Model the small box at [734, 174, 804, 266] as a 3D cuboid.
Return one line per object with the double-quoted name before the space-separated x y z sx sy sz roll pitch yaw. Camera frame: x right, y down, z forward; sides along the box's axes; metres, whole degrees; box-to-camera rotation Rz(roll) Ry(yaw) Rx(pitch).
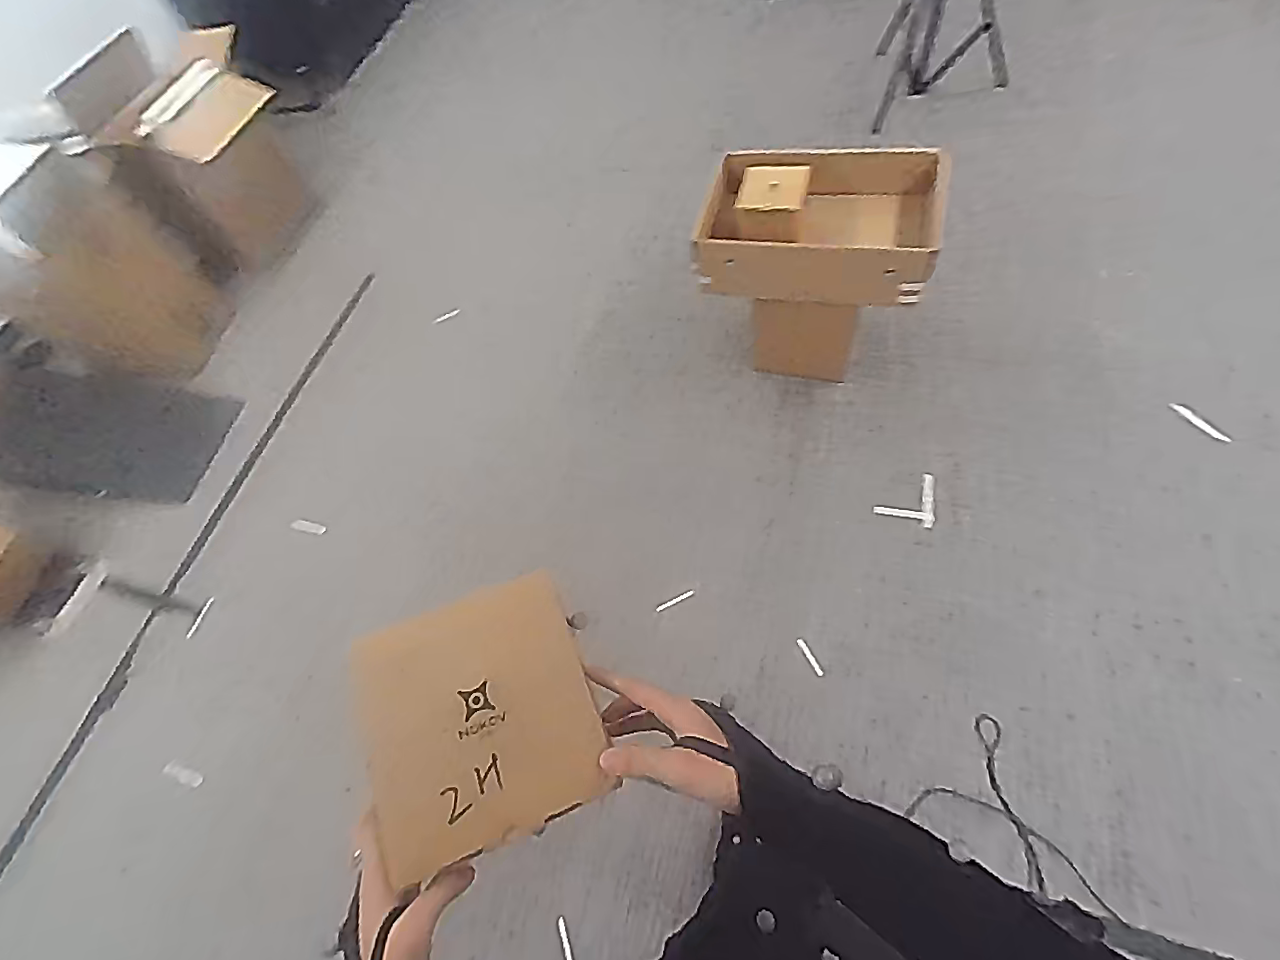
"small box" 0.366 -0.741 1.543 0.168 0.176 0.179 9 65 16
